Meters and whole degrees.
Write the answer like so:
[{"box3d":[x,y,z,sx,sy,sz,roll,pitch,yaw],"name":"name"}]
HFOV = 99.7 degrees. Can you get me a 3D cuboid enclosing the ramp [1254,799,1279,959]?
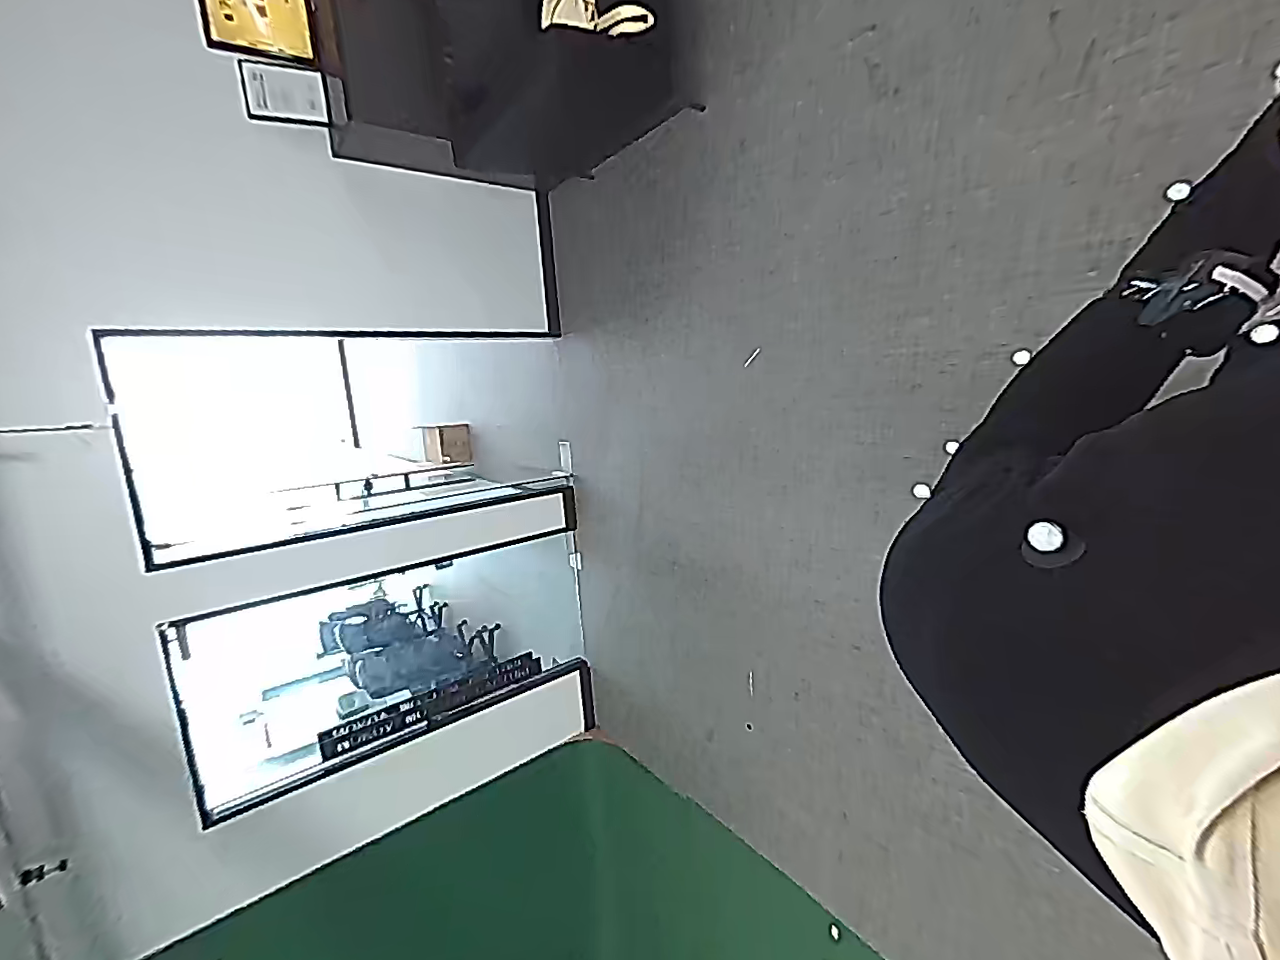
[{"box3d":[1.488,1.187,1.000,0.509,0.206,0.991,6,103,54],"name":"ramp"}]
